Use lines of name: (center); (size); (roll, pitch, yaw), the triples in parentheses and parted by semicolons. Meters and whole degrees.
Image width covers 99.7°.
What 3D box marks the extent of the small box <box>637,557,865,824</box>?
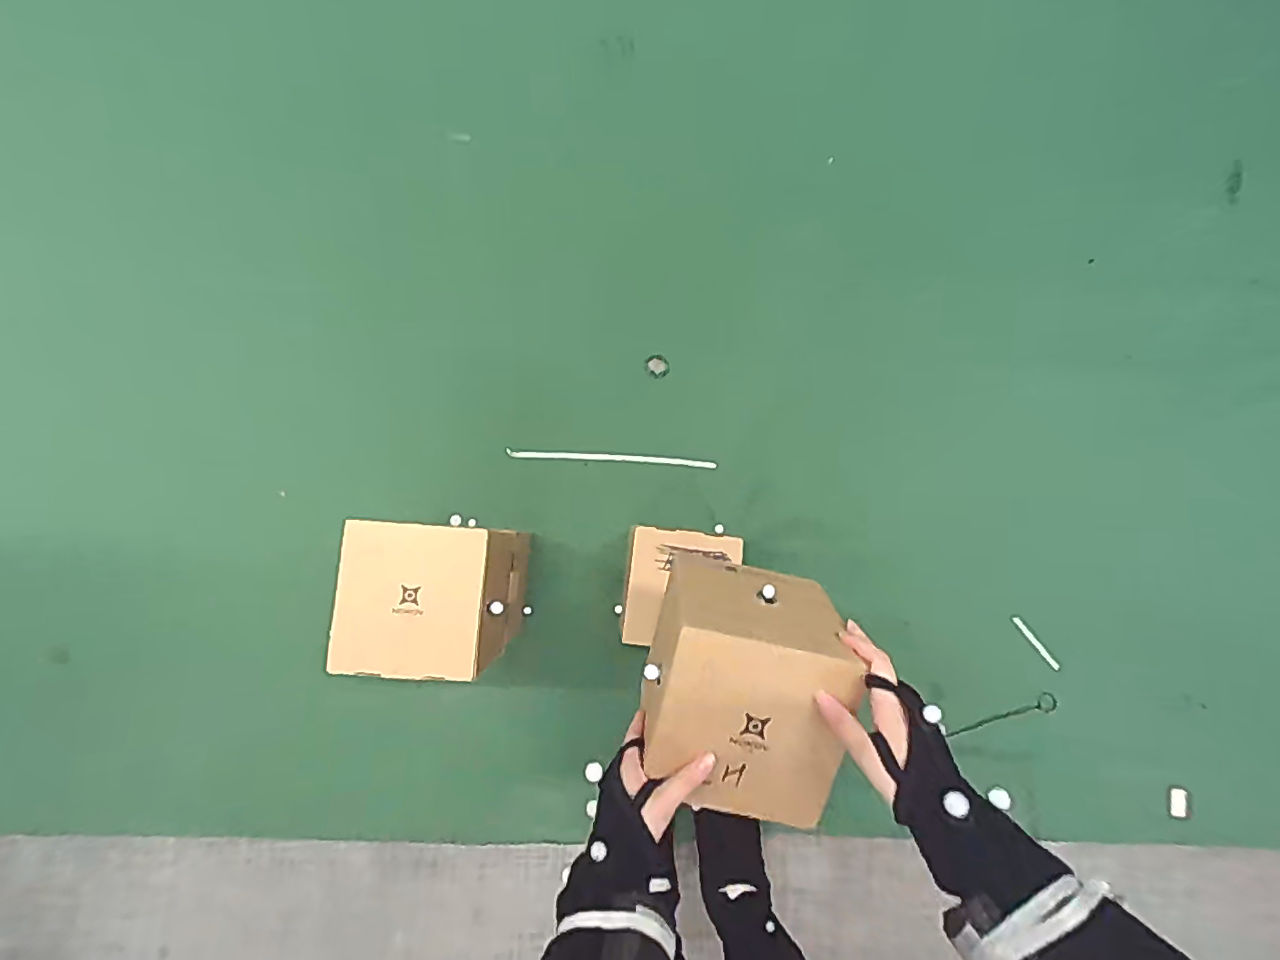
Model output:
small box: (0.095, 0.197, 0.550); (0.168, 0.176, 0.179); (13, 104, -1)

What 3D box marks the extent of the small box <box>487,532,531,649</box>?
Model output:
small box: (-0.276, 0.165, 0.863); (0.179, 0.176, 0.168); (4, 83, -1)

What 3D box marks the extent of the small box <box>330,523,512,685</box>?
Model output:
small box: (-0.267, 0.151, 0.701); (0.168, 0.176, 0.179); (4, 84, -2)
